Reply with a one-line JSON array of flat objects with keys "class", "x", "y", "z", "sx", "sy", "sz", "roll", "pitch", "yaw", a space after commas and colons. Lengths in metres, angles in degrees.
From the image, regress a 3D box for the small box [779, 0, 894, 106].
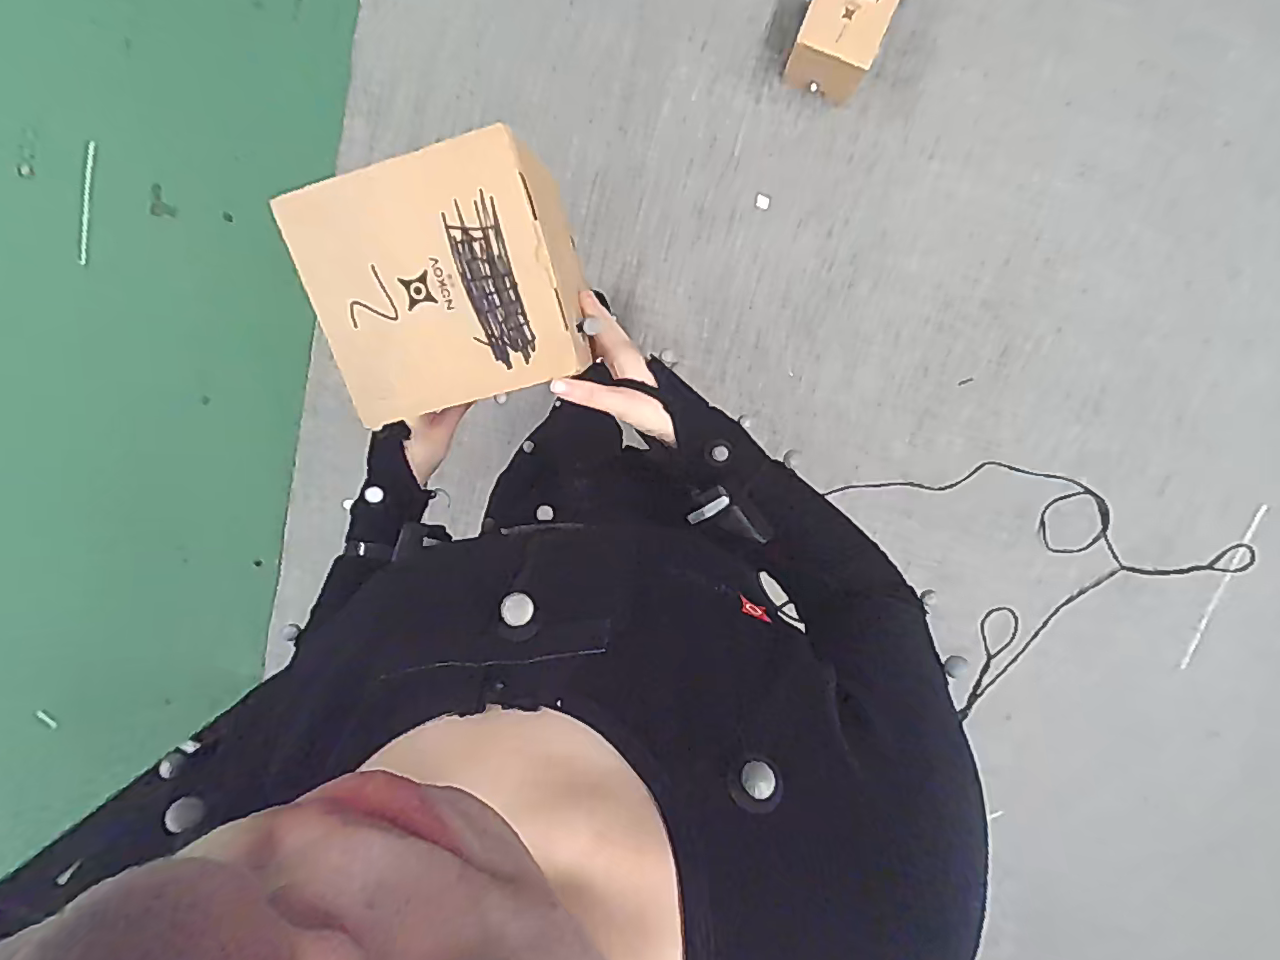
[{"class": "small box", "x": 0.420, "y": -0.969, "z": 1.177, "sx": 0.168, "sy": 0.176, "sz": 0.179, "roll": 22, "pitch": 103, "yaw": -1}]
